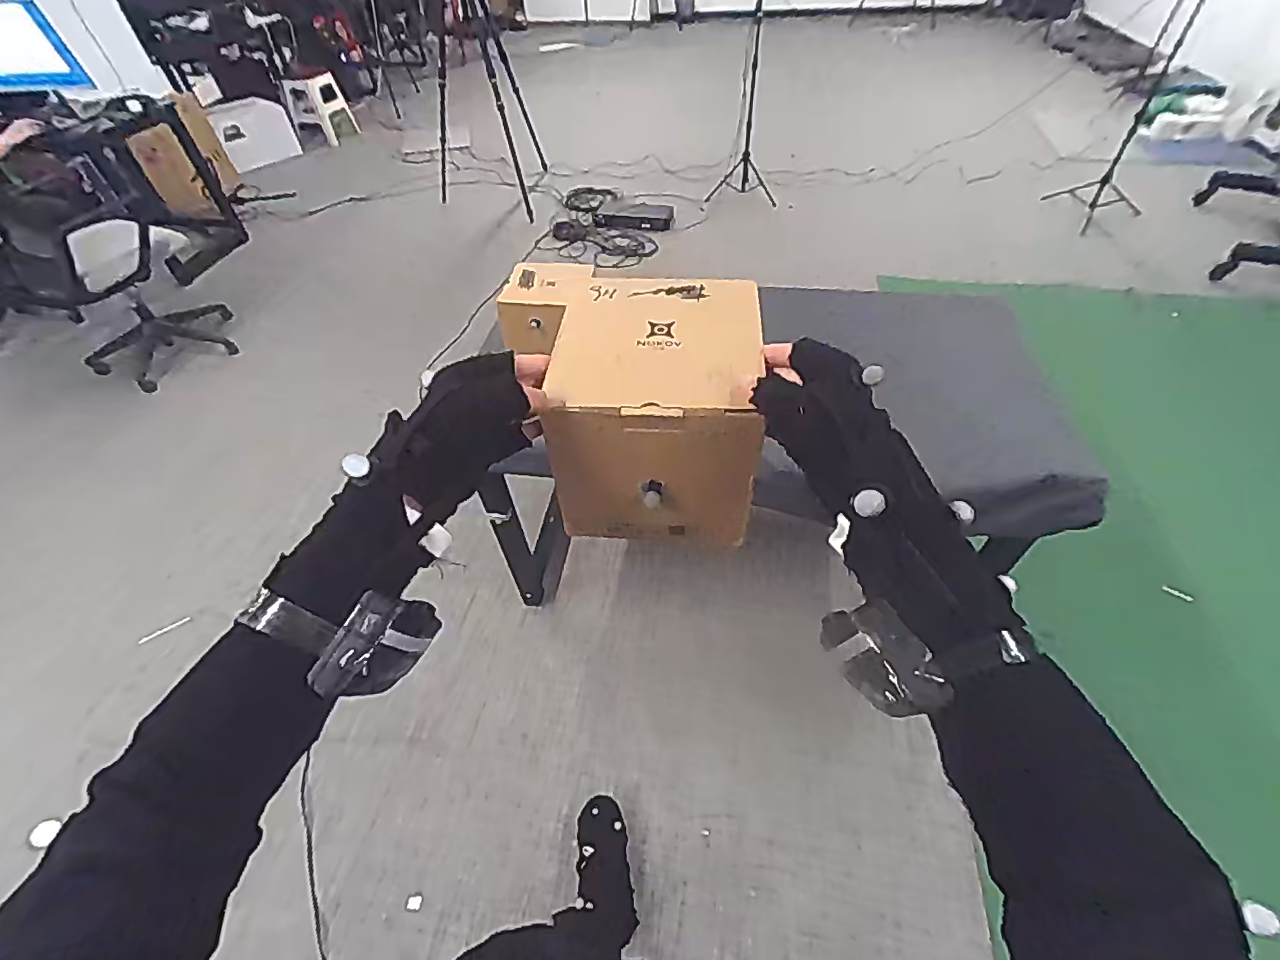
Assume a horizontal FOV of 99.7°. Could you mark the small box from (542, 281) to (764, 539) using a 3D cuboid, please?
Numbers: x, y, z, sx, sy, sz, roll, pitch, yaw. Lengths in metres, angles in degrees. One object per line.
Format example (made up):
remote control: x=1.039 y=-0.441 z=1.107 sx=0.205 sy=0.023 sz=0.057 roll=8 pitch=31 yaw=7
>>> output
small box: x=0.020 y=-0.061 z=0.499 sx=0.168 sy=0.176 sz=0.179 roll=2 pitch=51 yaw=5

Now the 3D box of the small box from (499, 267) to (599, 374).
small box: x=-0.182 y=-0.341 z=1.171 sx=0.179 sy=0.176 sz=0.168 roll=4 pitch=49 yaw=6
